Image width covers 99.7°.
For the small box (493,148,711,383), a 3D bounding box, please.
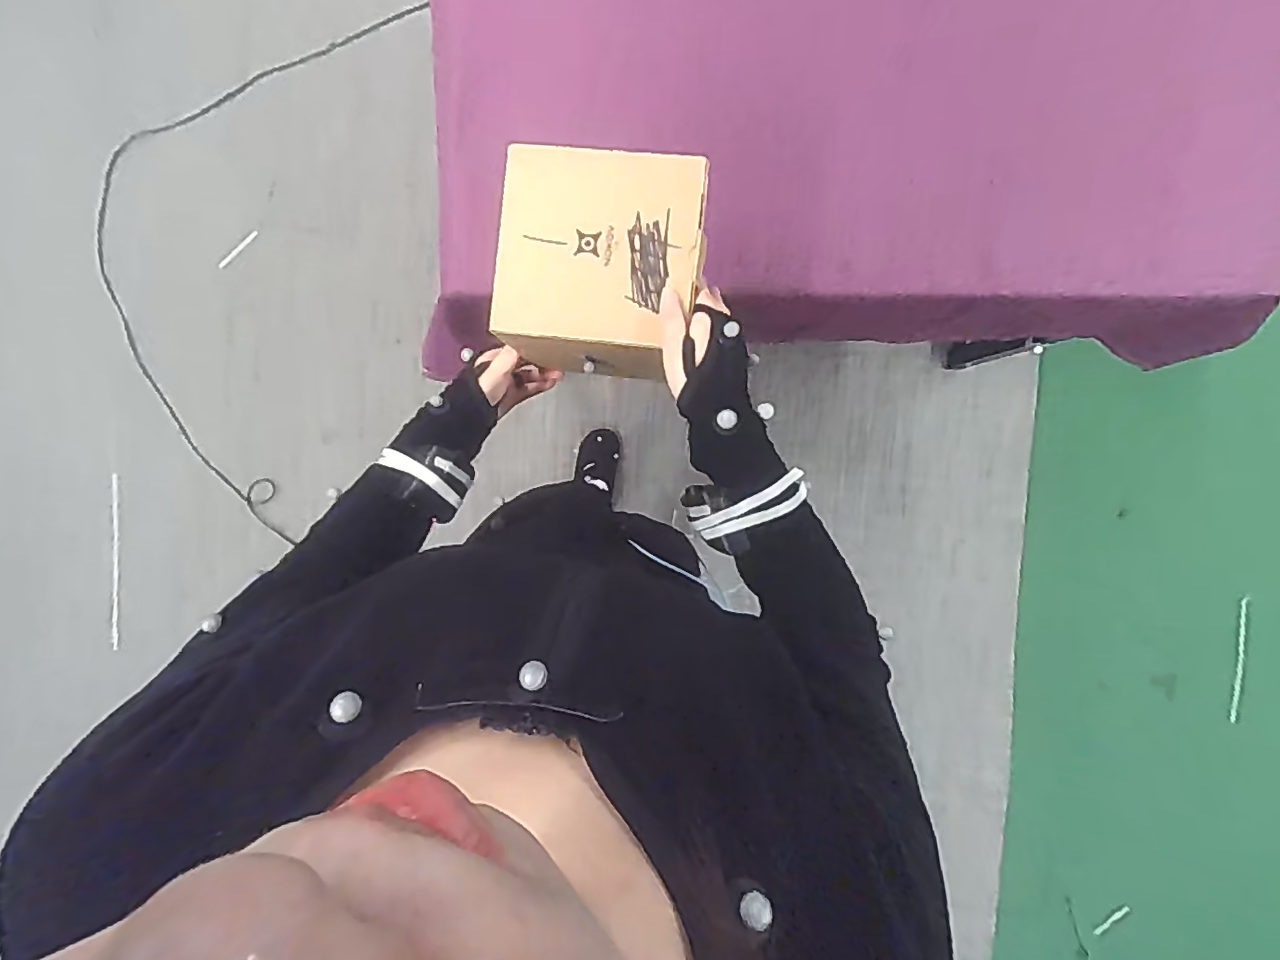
[{"bbox_3d":[-0.030,-0.200,0.550,0.179,0.176,0.168,7,90,4],"label":"small box"}]
